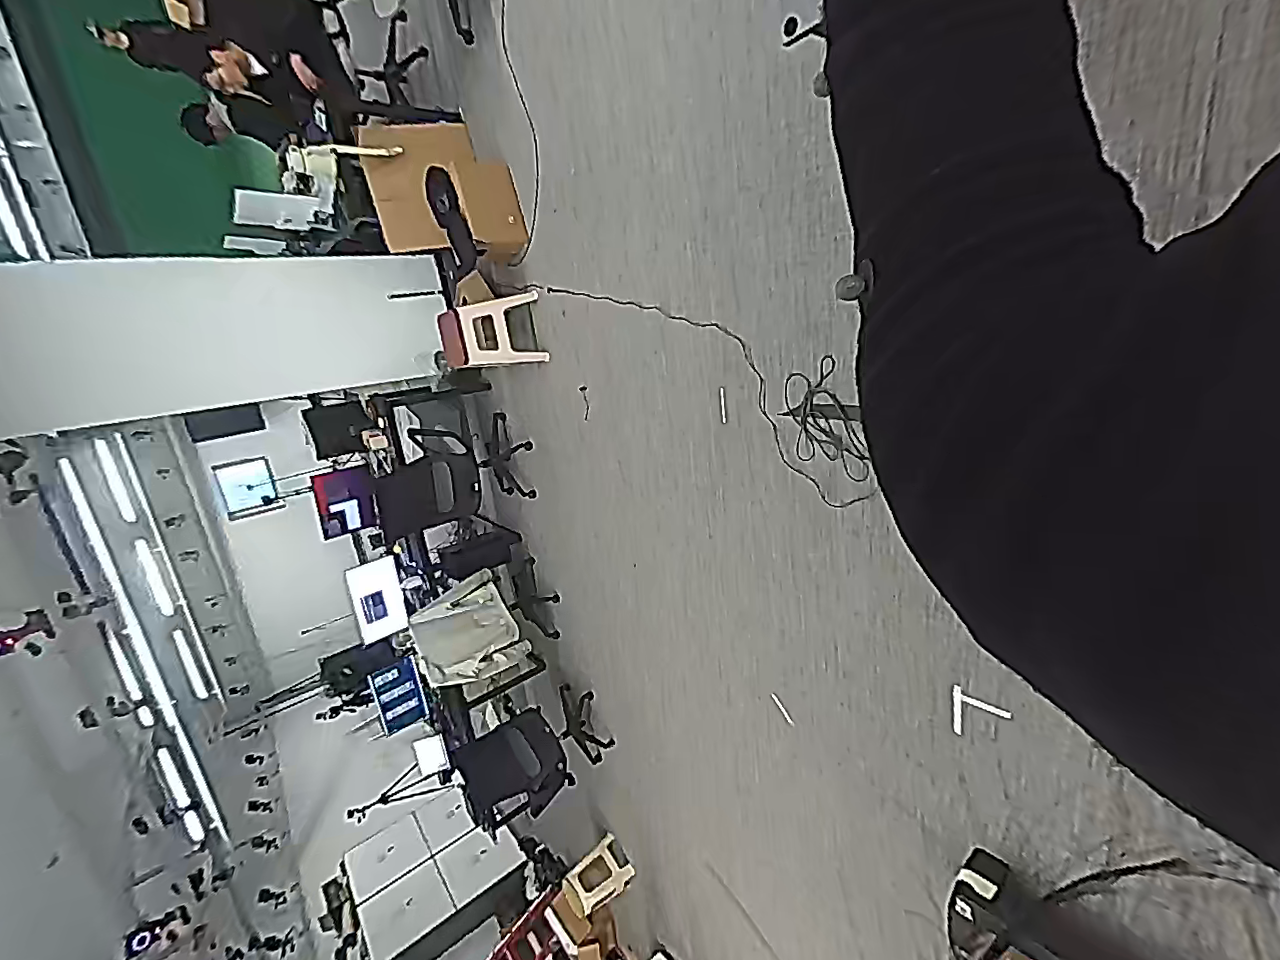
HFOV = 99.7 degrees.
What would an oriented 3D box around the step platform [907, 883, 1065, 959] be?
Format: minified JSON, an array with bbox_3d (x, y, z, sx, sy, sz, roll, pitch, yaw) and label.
[{"bbox_3d":[1.067,1.396,1.374,0.684,0.204,0.286,11,115,52],"label":"step platform"}]
